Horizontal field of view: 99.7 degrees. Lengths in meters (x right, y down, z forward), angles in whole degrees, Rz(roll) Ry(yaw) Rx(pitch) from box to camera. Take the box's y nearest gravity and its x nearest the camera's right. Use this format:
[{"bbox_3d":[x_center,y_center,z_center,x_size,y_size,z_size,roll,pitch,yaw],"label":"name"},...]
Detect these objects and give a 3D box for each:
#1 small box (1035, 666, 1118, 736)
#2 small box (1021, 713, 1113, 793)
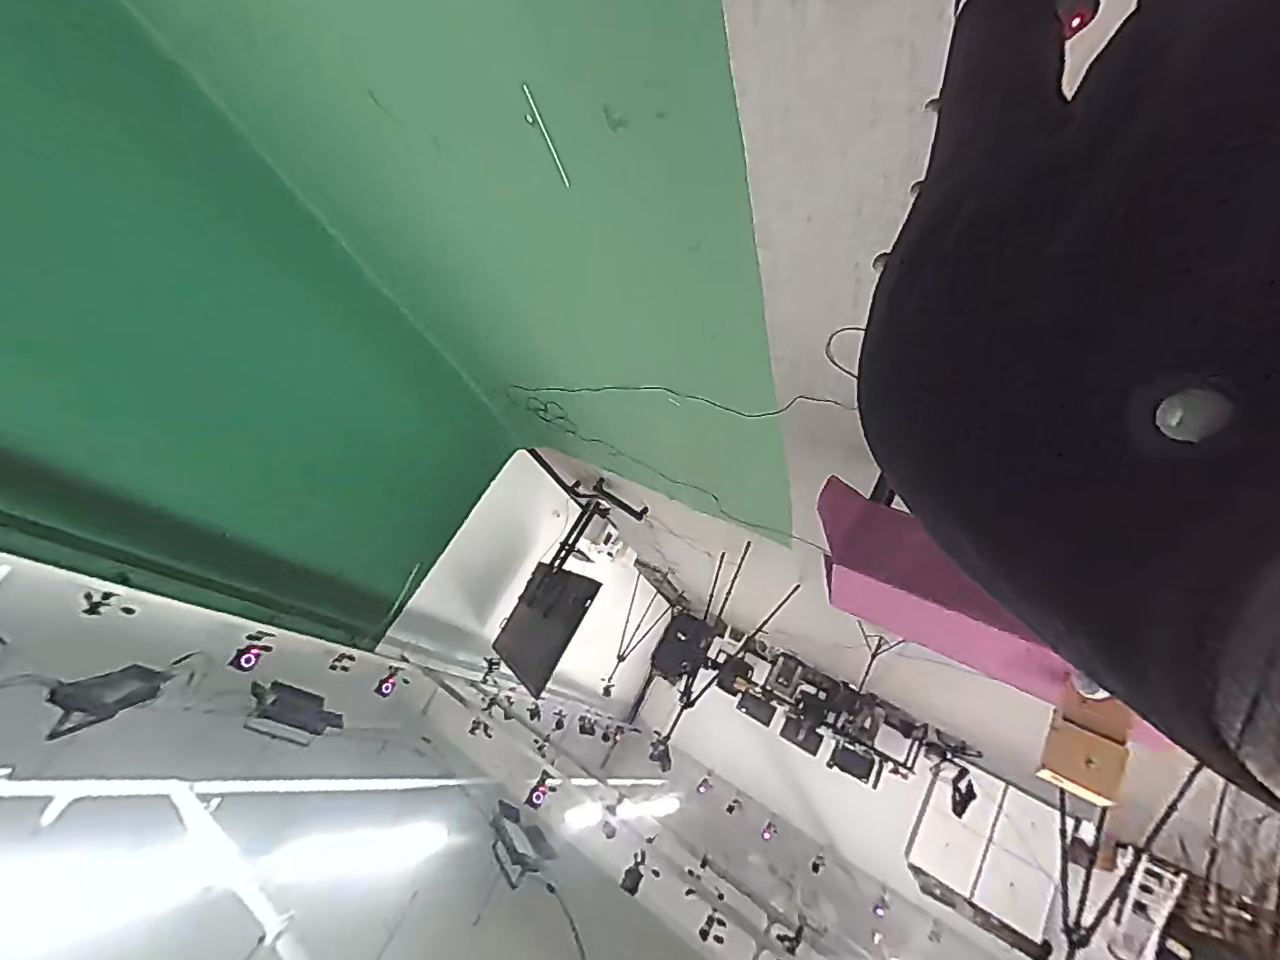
[{"bbox_3d":[1.445,0.740,1.791,0.168,0.176,0.179,21,162,33],"label":"small box"},{"bbox_3d":[1.358,0.864,1.723,0.179,0.176,0.168,20,161,34],"label":"small box"}]
